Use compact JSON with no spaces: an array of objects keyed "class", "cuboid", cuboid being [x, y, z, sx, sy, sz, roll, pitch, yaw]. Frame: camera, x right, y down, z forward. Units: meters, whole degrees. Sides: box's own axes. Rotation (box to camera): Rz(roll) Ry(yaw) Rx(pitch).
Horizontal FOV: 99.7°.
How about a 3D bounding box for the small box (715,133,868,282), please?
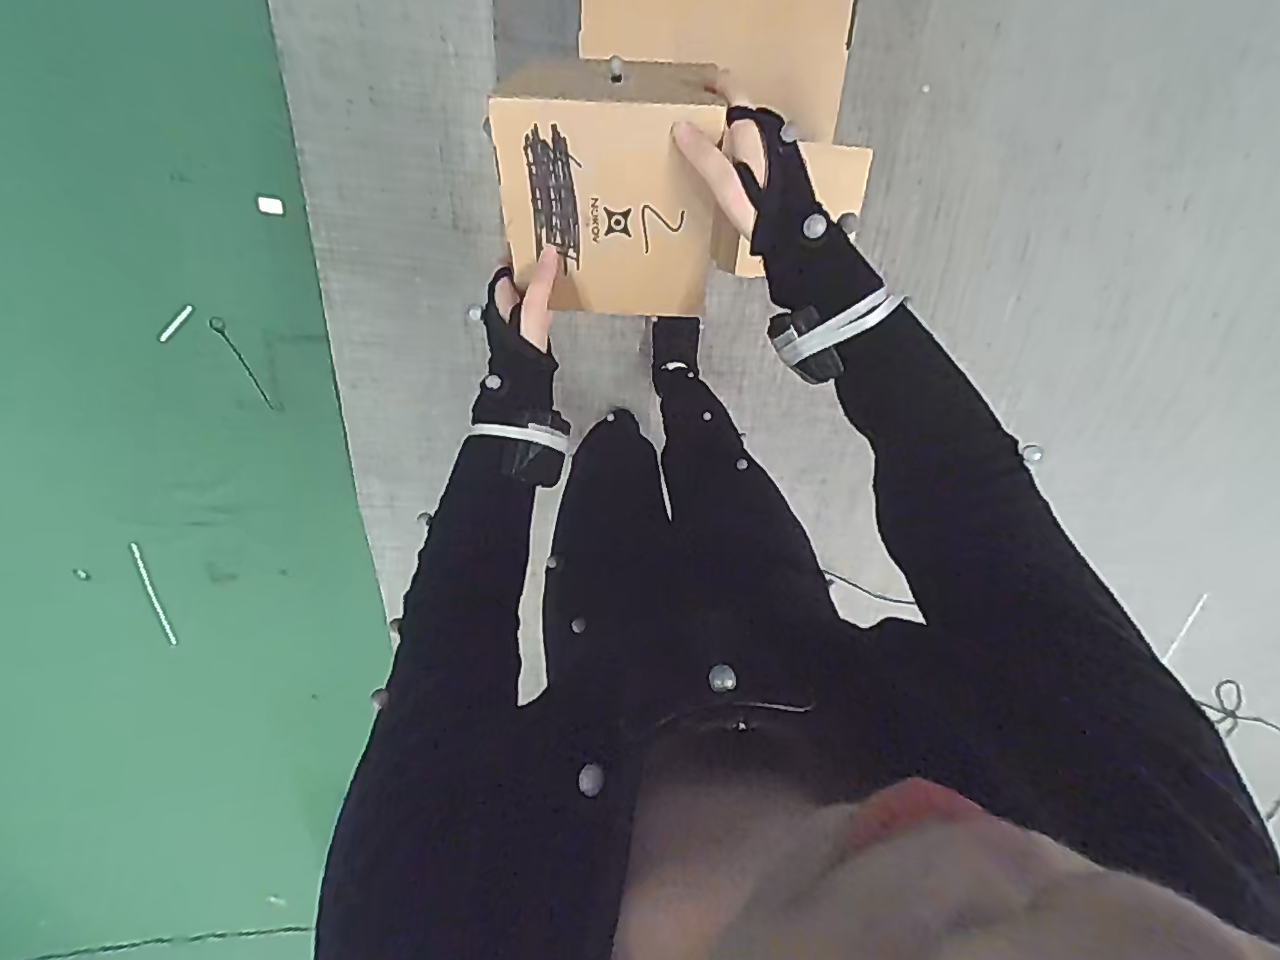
[{"class":"small box","cuboid":[0.216,-0.407,0.825,0.168,0.176,0.179,3,115,-4]}]
